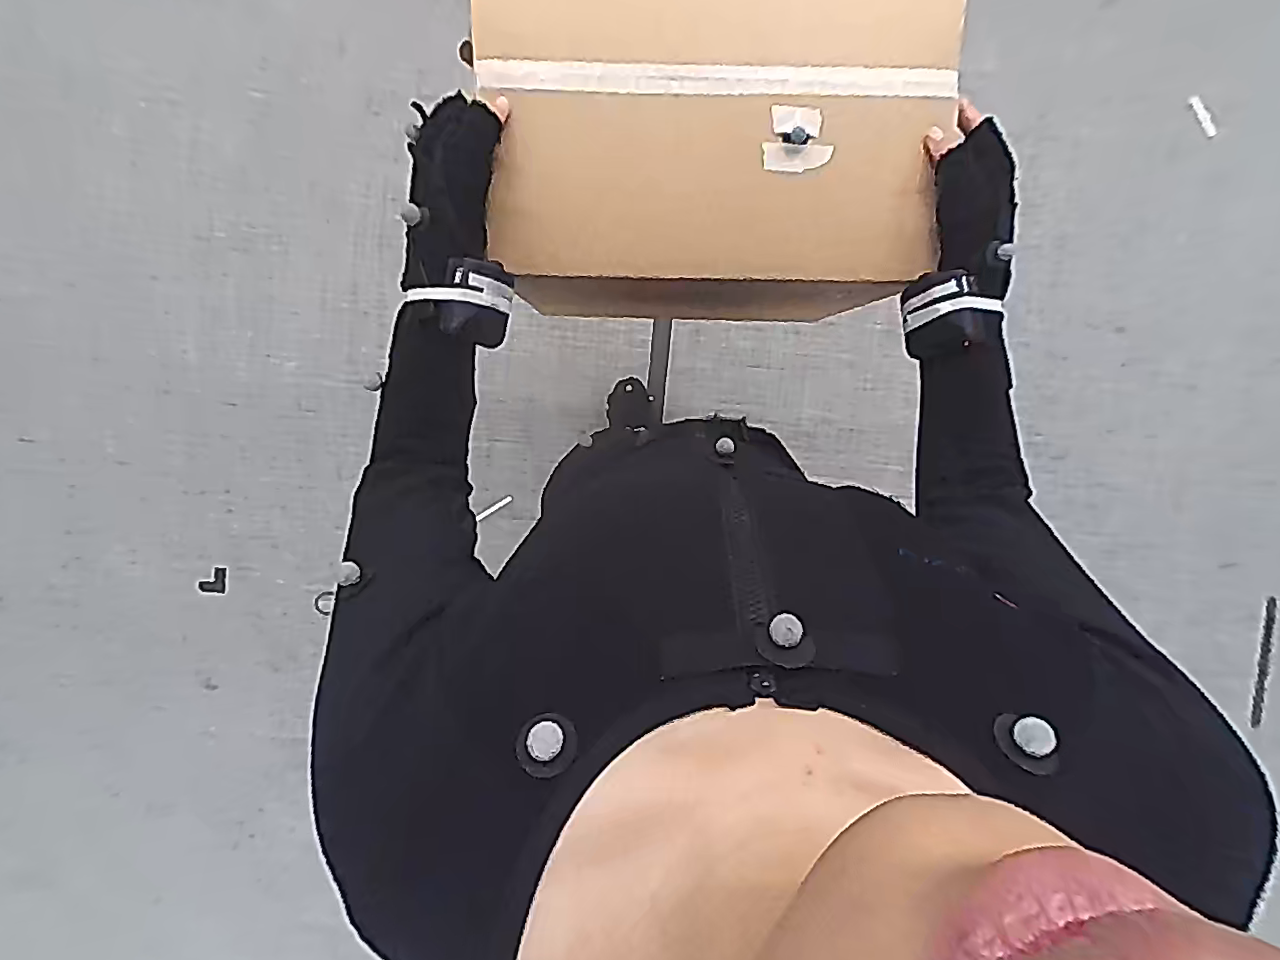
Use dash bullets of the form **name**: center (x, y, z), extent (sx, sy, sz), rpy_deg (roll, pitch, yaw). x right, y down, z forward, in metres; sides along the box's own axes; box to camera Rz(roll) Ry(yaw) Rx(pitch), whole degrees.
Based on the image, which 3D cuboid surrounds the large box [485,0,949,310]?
- **large box**: center (0.060, -0.374, 0.617), extent (0.408, 0.320, 0.320), rpy_deg (0, 101, -2)
